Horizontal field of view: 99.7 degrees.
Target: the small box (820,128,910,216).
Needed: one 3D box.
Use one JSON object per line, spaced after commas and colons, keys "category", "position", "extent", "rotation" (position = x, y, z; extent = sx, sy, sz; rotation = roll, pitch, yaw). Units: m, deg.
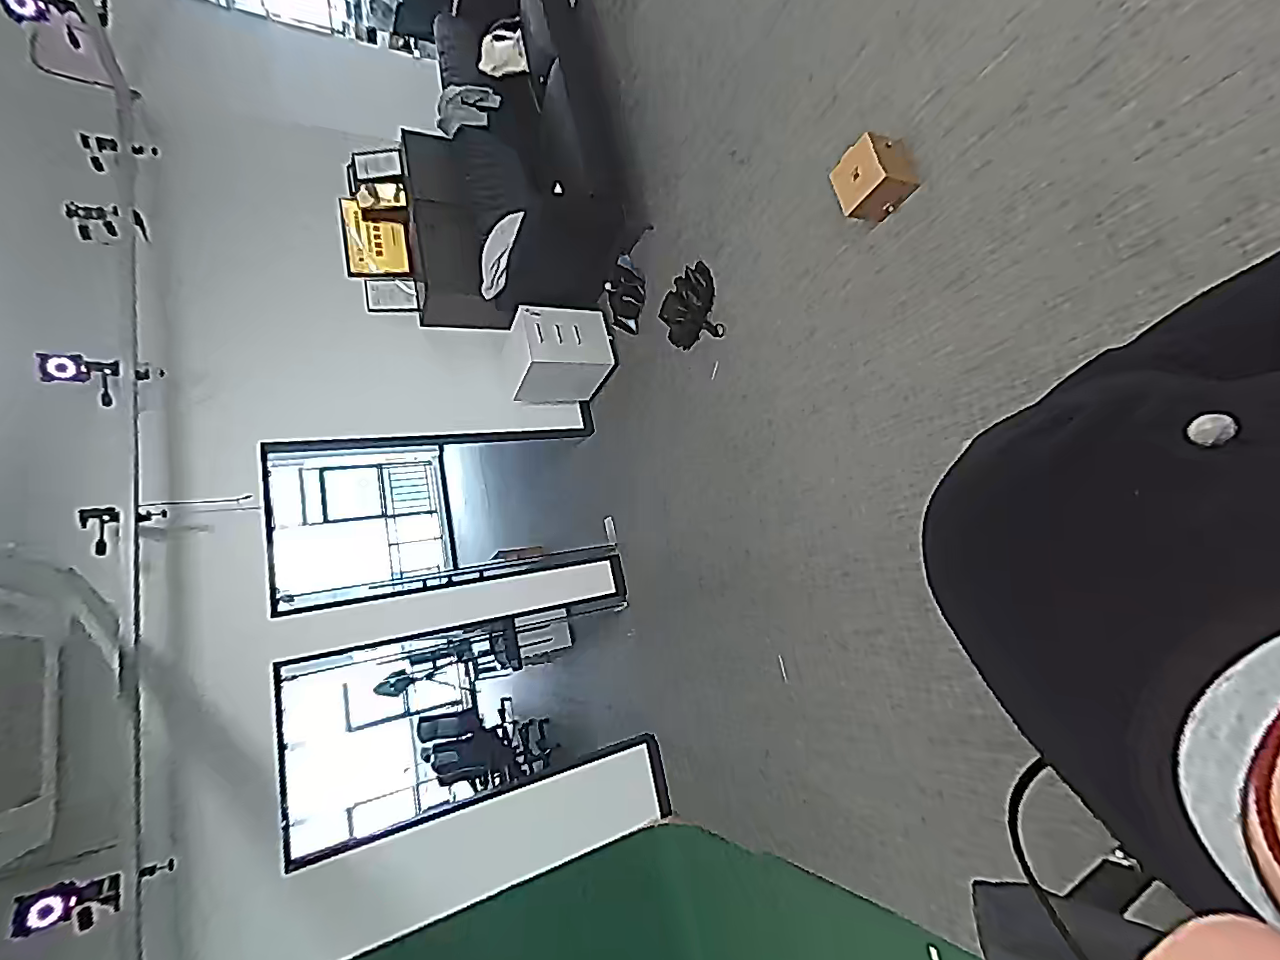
{"category": "small box", "position": [0.712, -0.965, 1.711], "extent": [0.168, 0.176, 0.179], "rotation": [-41, 62, 58]}
